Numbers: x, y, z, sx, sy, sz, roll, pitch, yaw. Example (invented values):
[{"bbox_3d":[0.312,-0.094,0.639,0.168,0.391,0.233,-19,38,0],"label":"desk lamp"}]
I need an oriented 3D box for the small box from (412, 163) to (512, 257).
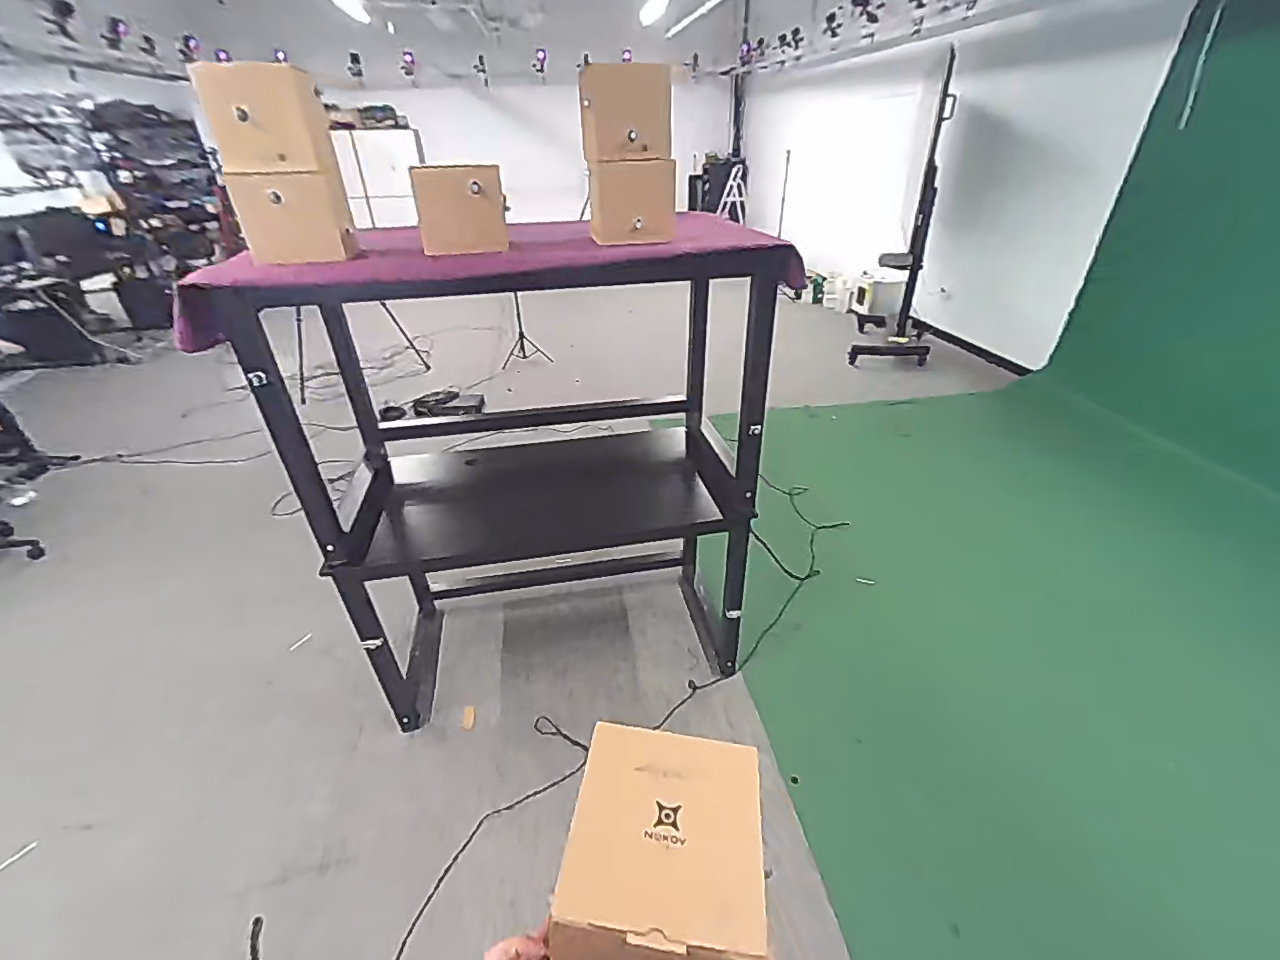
[{"bbox_3d":[-0.383,-0.600,1.198,0.179,0.176,0.168,-7,32,-7],"label":"small box"}]

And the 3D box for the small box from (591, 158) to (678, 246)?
[{"bbox_3d":[-0.016,-0.644,1.248,0.179,0.176,0.168,-7,31,-8],"label":"small box"}]

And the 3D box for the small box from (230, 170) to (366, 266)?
[{"bbox_3d":[-0.706,-0.554,1.141,0.179,0.176,0.168,-8,33,-11],"label":"small box"}]

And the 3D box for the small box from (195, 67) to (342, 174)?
[{"bbox_3d":[-0.710,-0.695,1.061,0.168,0.176,0.179,-9,32,-11],"label":"small box"}]

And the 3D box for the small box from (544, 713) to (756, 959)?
[{"bbox_3d":[0.016,0.362,0.515,0.168,0.176,0.179,7,28,6],"label":"small box"}]
